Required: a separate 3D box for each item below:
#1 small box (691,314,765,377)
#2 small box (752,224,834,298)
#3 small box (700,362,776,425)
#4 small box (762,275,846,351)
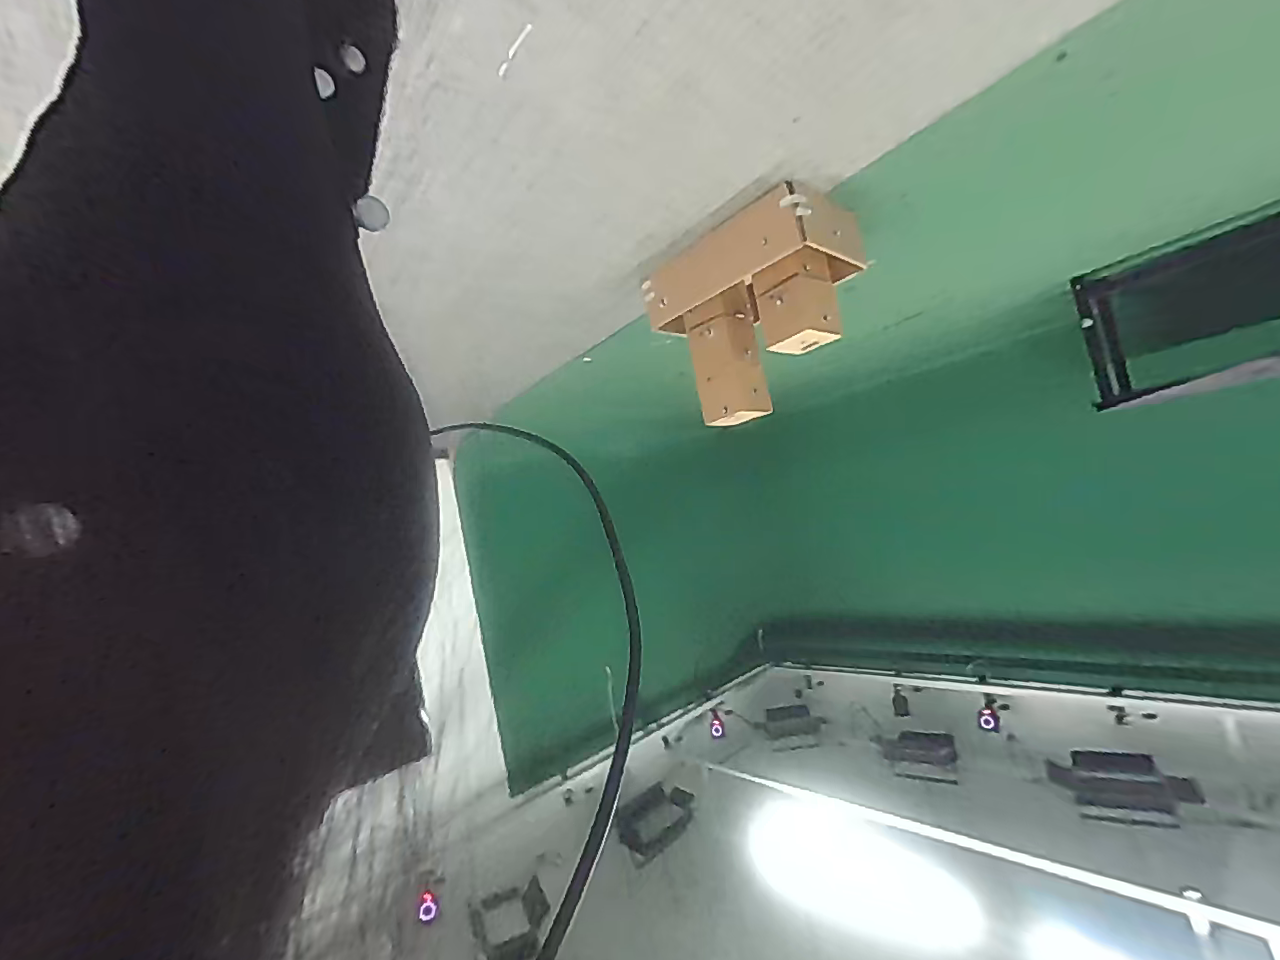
[{"bbox_3d":[0.299,-0.454,1.852,0.179,0.176,0.168,-4,170,-44],"label":"small box"},{"bbox_3d":[0.474,-0.670,1.682,0.179,0.176,0.168,-6,174,-38],"label":"small box"},{"bbox_3d":[0.330,-0.293,1.836,0.179,0.176,0.168,-7,173,-41],"label":"small box"},{"bbox_3d":[0.499,-0.509,1.655,0.179,0.176,0.168,-5,173,-36],"label":"small box"}]
